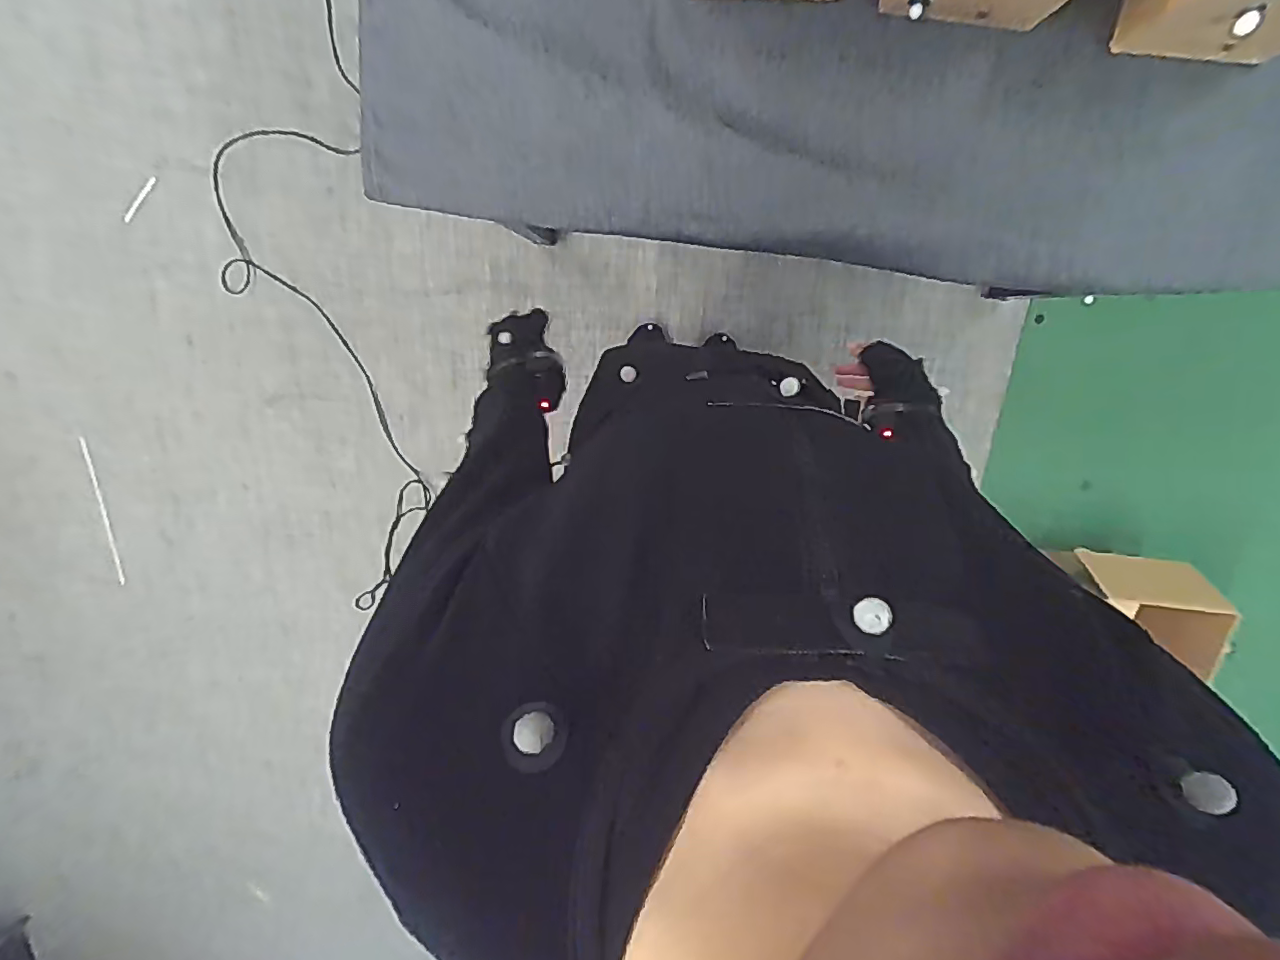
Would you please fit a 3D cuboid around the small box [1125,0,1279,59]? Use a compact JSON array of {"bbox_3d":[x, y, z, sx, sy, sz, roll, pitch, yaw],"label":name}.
[{"bbox_3d":[0.585,-0.504,0.470,0.168,0.176,0.179,6,107,1],"label":"small box"}]
